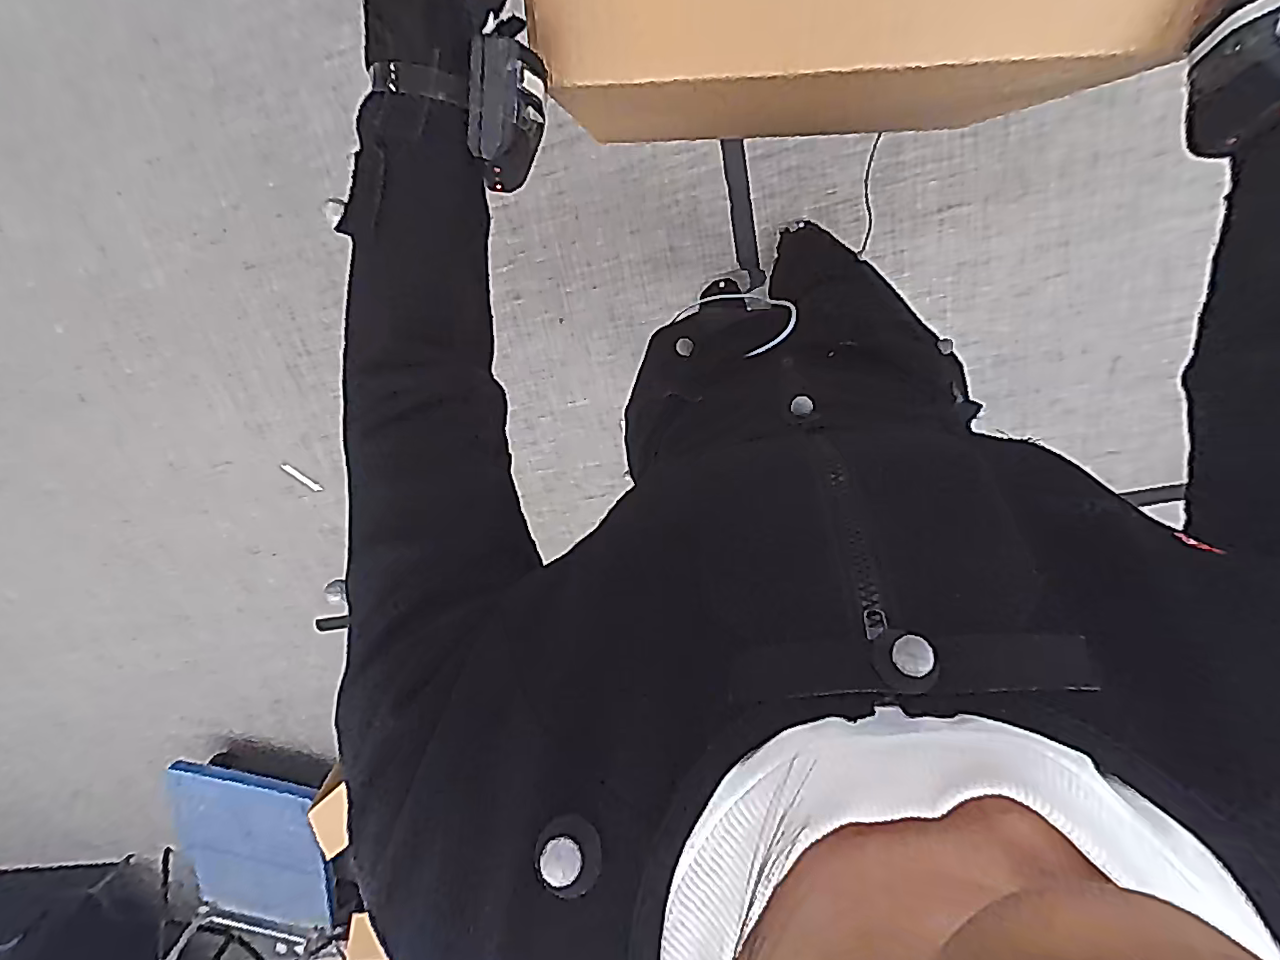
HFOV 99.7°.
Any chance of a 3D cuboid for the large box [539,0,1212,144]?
[{"bbox_3d":[0.134,-0.461,0.402,0.408,0.320,0.320,-2,117,3],"label":"large box"}]
